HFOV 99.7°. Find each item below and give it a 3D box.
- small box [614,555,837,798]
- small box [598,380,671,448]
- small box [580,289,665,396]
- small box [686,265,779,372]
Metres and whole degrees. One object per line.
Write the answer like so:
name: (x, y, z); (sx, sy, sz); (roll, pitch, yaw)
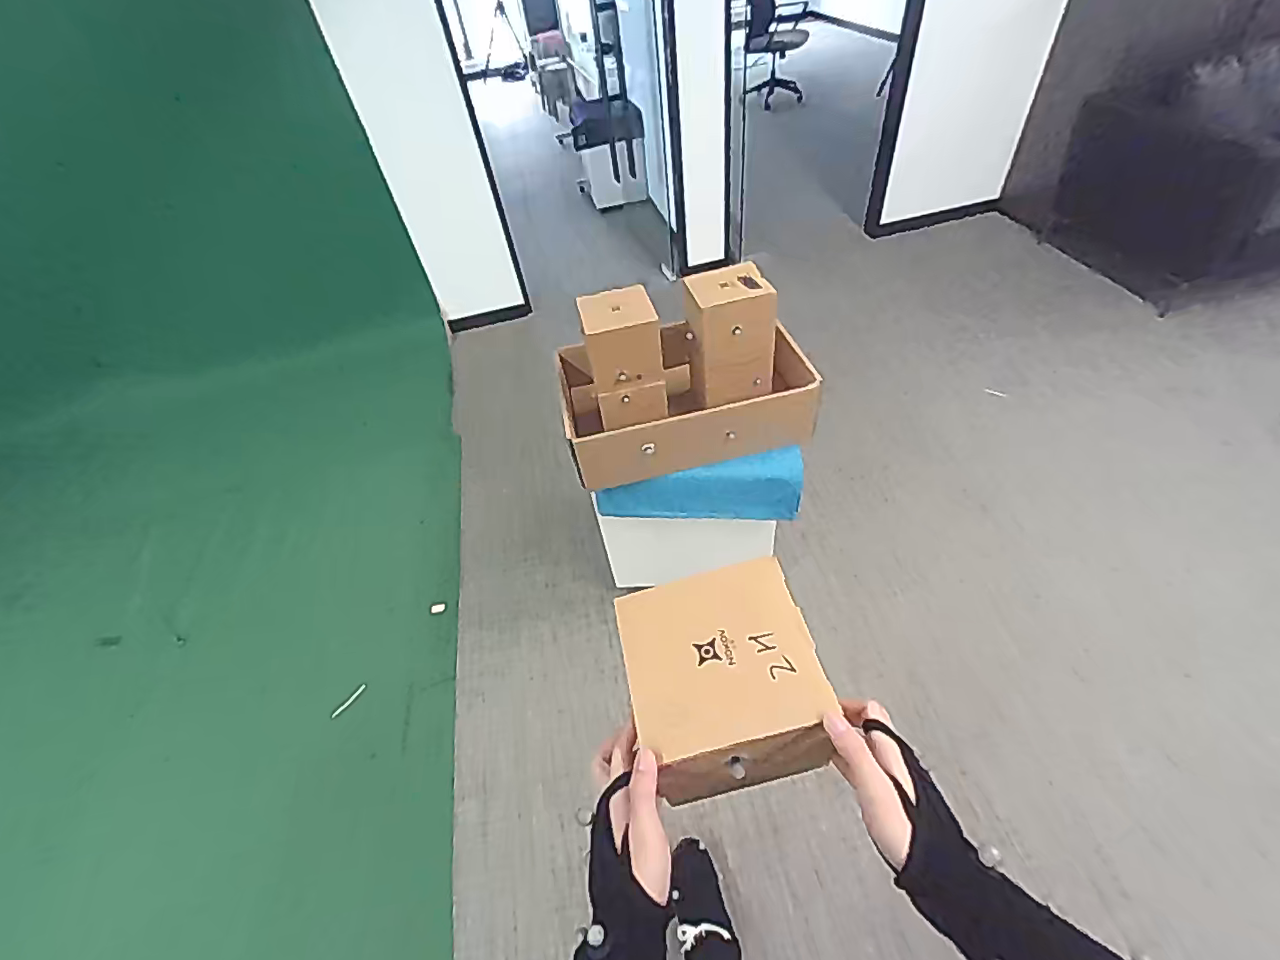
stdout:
small box: (0.084, 0.208, 0.561); (0.179, 0.176, 0.168); (-14, 48, 0)
small box: (-0.020, -0.210, 1.397); (0.168, 0.176, 0.179); (-13, 45, -3)
small box: (-0.041, -0.326, 1.286); (0.168, 0.176, 0.179); (-13, 46, -3)
small box: (0.218, -0.384, 1.294); (0.179, 0.176, 0.168); (-14, 45, -2)
